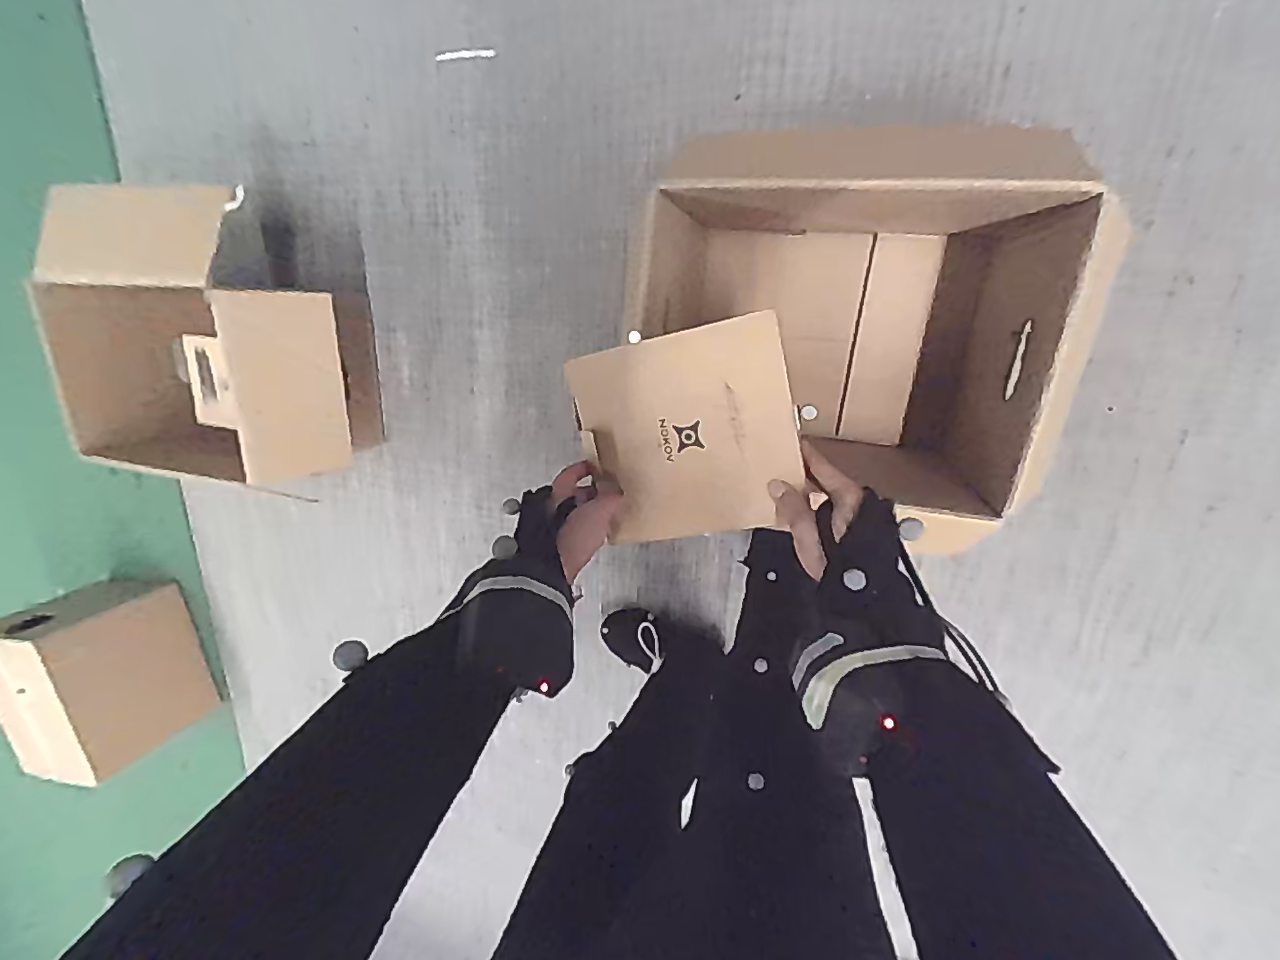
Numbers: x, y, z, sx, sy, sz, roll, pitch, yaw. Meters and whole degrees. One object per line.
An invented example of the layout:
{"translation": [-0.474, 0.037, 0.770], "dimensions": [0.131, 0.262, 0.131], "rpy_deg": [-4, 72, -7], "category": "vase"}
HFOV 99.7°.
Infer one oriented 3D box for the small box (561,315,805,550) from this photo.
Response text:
{"translation": [0.053, -0.047, 0.507], "dimensions": [0.179, 0.176, 0.168], "rpy_deg": [-10, 100, 18], "category": "small box"}
